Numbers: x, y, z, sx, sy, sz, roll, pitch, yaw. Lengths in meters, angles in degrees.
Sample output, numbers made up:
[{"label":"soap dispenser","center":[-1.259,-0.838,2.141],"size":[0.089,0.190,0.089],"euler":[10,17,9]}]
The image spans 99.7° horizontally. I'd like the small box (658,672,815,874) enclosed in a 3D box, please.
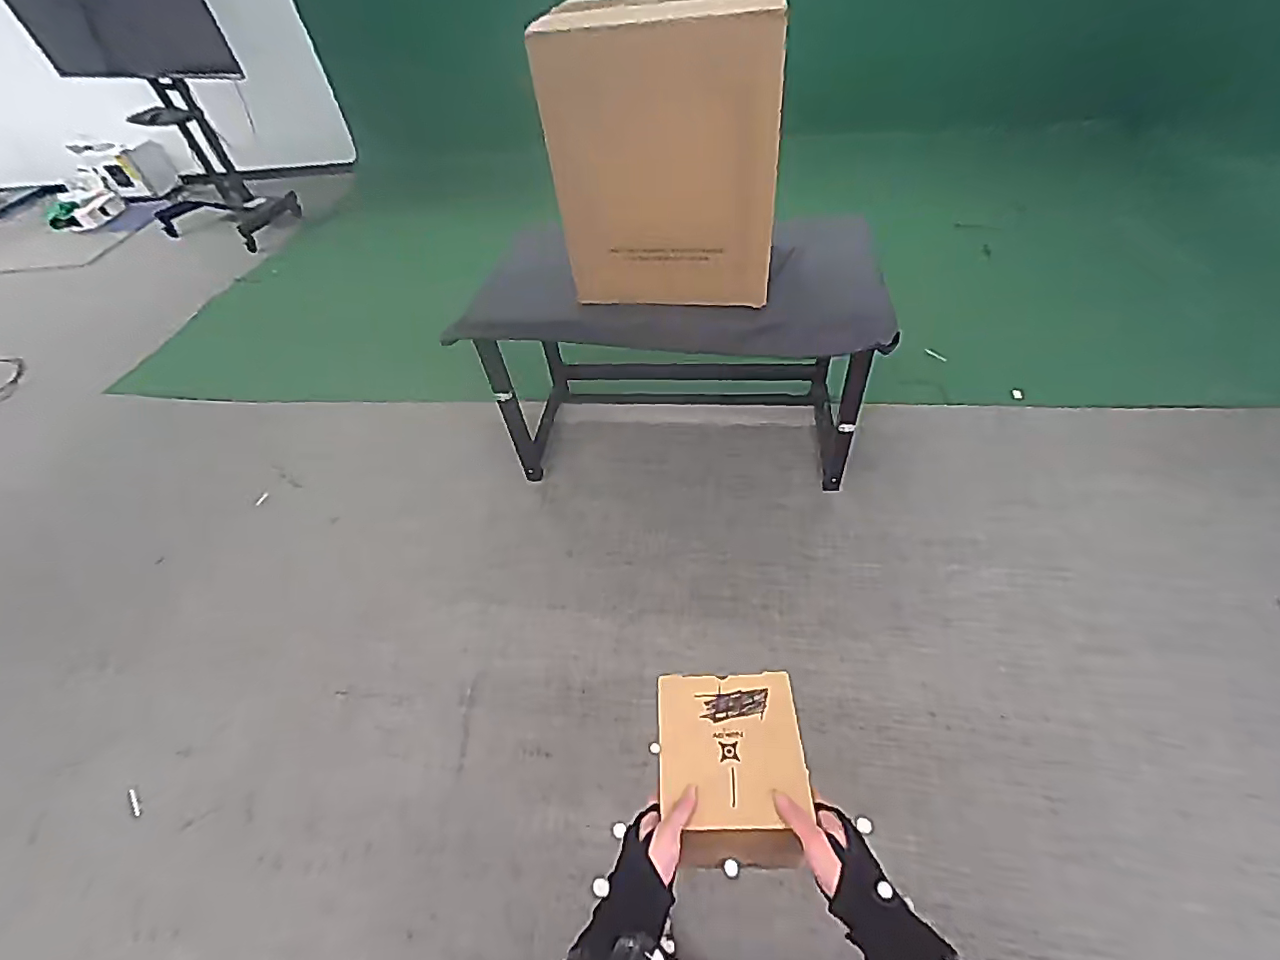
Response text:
[{"label":"small box","center":[0.111,0.363,0.677],"size":[0.168,0.176,0.179],"euler":[-2,43,6]}]
